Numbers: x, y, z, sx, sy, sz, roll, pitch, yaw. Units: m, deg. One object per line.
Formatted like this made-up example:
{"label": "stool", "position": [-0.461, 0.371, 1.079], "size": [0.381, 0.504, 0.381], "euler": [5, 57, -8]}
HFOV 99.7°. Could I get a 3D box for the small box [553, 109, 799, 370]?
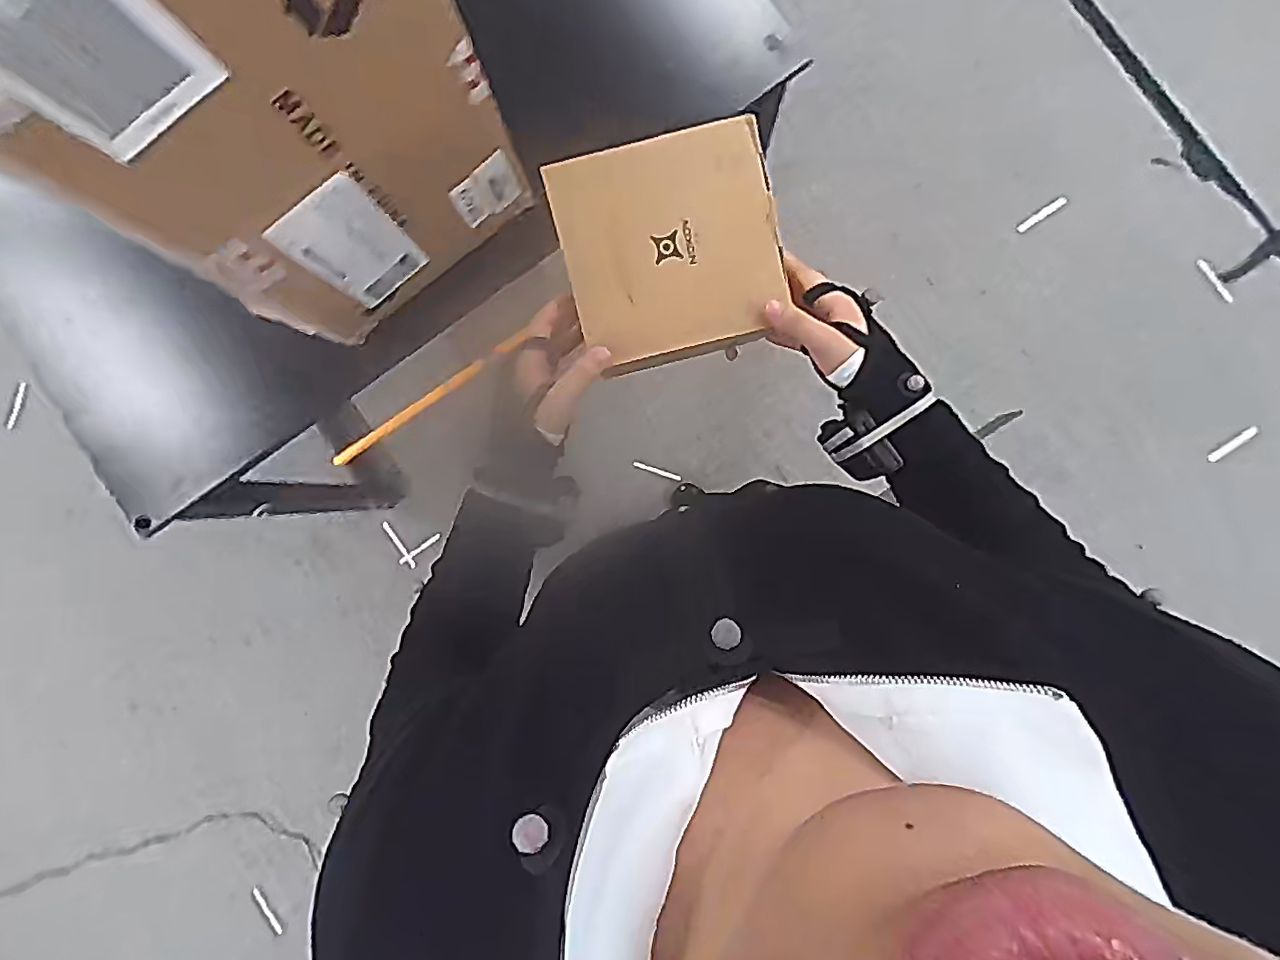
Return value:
{"label": "small box", "position": [0.031, -0.208, 0.519], "size": [0.179, 0.176, 0.168], "euler": [-14, 97, 3]}
